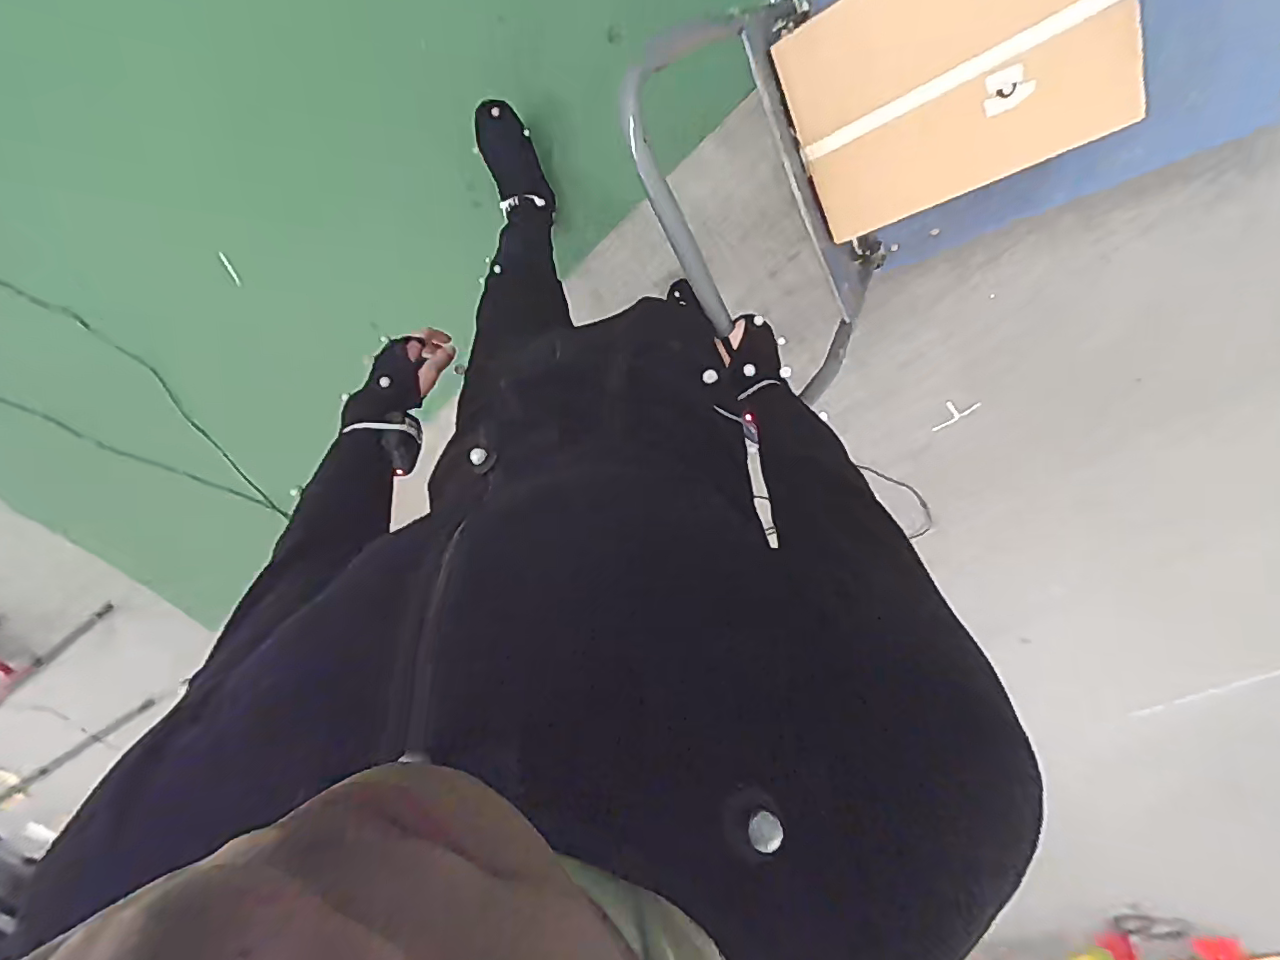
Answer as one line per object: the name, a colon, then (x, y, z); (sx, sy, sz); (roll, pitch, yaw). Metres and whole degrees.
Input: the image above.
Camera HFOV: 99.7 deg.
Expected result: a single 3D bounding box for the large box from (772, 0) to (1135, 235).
large box: (0.478, -0.664, 0.868); (0.408, 0.320, 0.320); (-12, 122, 34)
